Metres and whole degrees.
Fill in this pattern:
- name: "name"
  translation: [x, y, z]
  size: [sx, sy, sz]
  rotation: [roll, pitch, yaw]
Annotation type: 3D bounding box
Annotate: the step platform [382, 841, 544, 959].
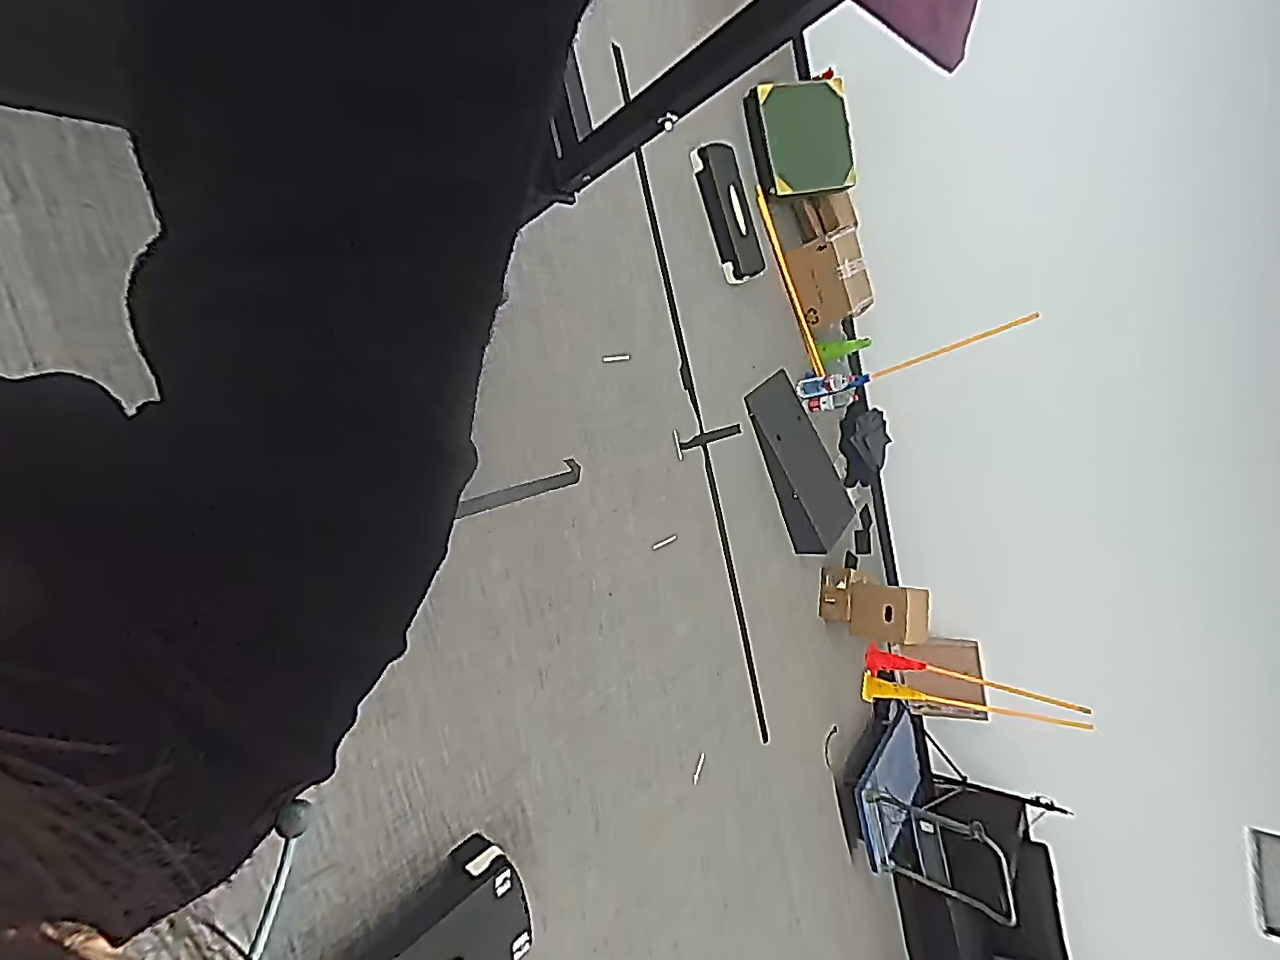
- name: "step platform"
  translation: [-0.563, 1.249, 1.348]
  size: [0.684, 0.204, 0.286]
  rotation: [-11, 93, -47]
